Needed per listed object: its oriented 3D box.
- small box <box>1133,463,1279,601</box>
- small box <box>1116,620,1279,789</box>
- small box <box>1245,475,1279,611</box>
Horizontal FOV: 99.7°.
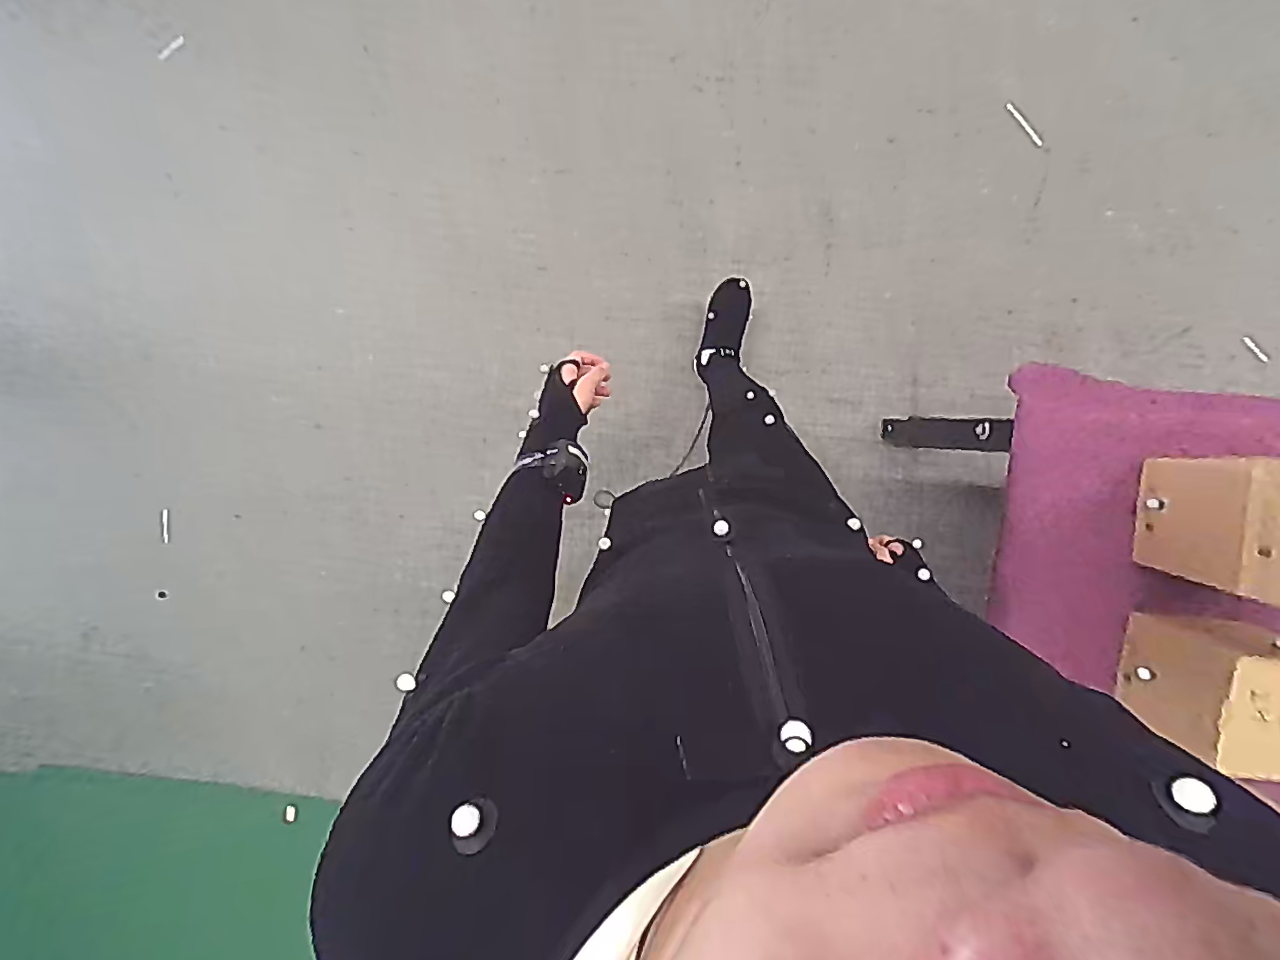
[{"bbox_3d":[0.850,0.064,0.748,0.179,0.176,0.168,0,96,4],"label":"small box"},{"bbox_3d":[0.851,0.313,0.774,0.179,0.176,0.168,5,96,4],"label":"small box"},{"bbox_3d":[0.835,0.081,0.588,0.179,0.176,0.168,0,95,3],"label":"small box"}]
